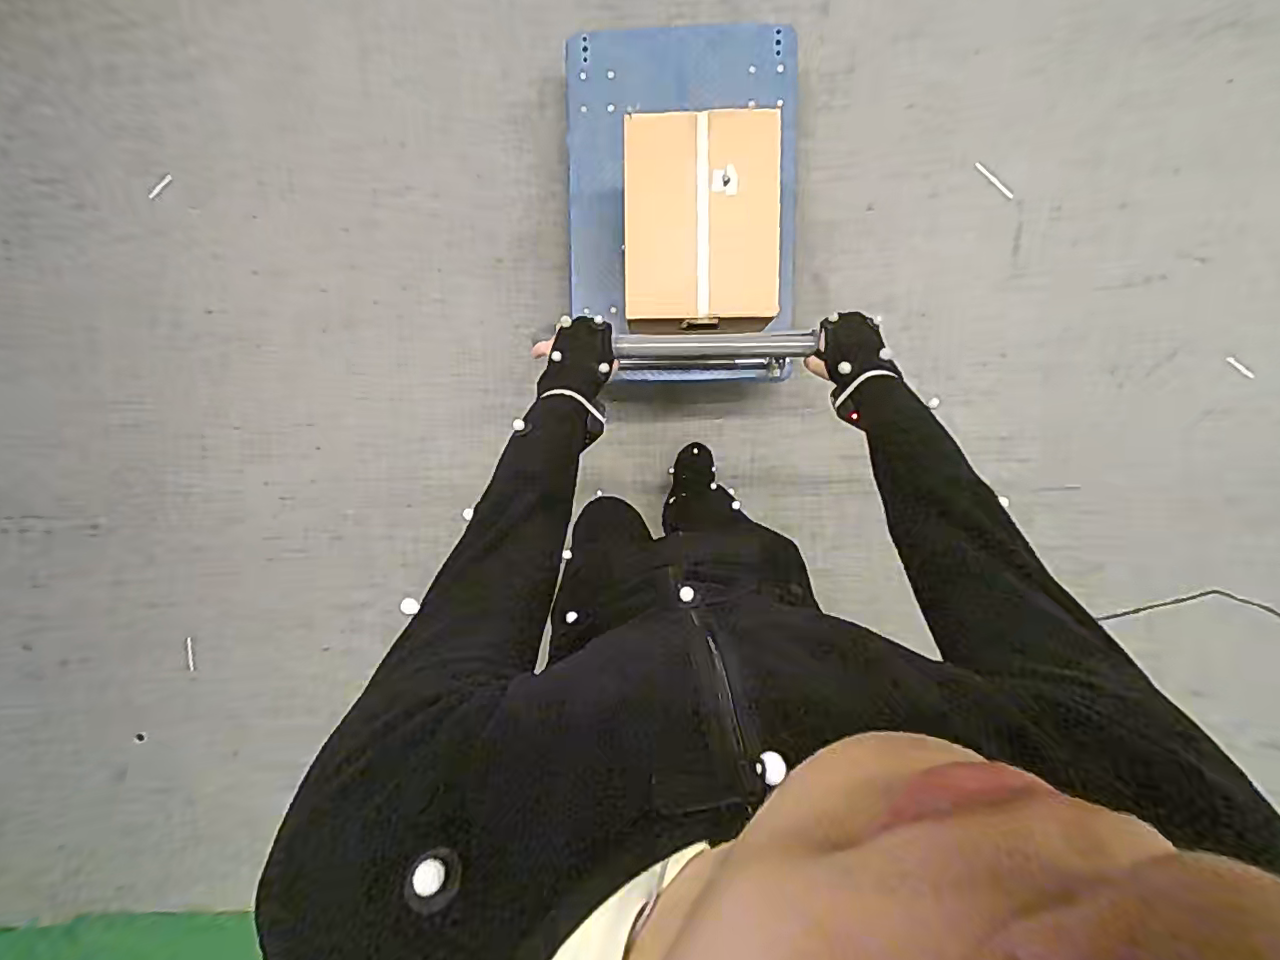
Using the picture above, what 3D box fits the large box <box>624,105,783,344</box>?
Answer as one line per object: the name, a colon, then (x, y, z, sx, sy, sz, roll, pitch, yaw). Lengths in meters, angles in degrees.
large box: (0.132, -0.540, 1.220, 0.320, 0.320, 0.408, -1, 94, 1)
